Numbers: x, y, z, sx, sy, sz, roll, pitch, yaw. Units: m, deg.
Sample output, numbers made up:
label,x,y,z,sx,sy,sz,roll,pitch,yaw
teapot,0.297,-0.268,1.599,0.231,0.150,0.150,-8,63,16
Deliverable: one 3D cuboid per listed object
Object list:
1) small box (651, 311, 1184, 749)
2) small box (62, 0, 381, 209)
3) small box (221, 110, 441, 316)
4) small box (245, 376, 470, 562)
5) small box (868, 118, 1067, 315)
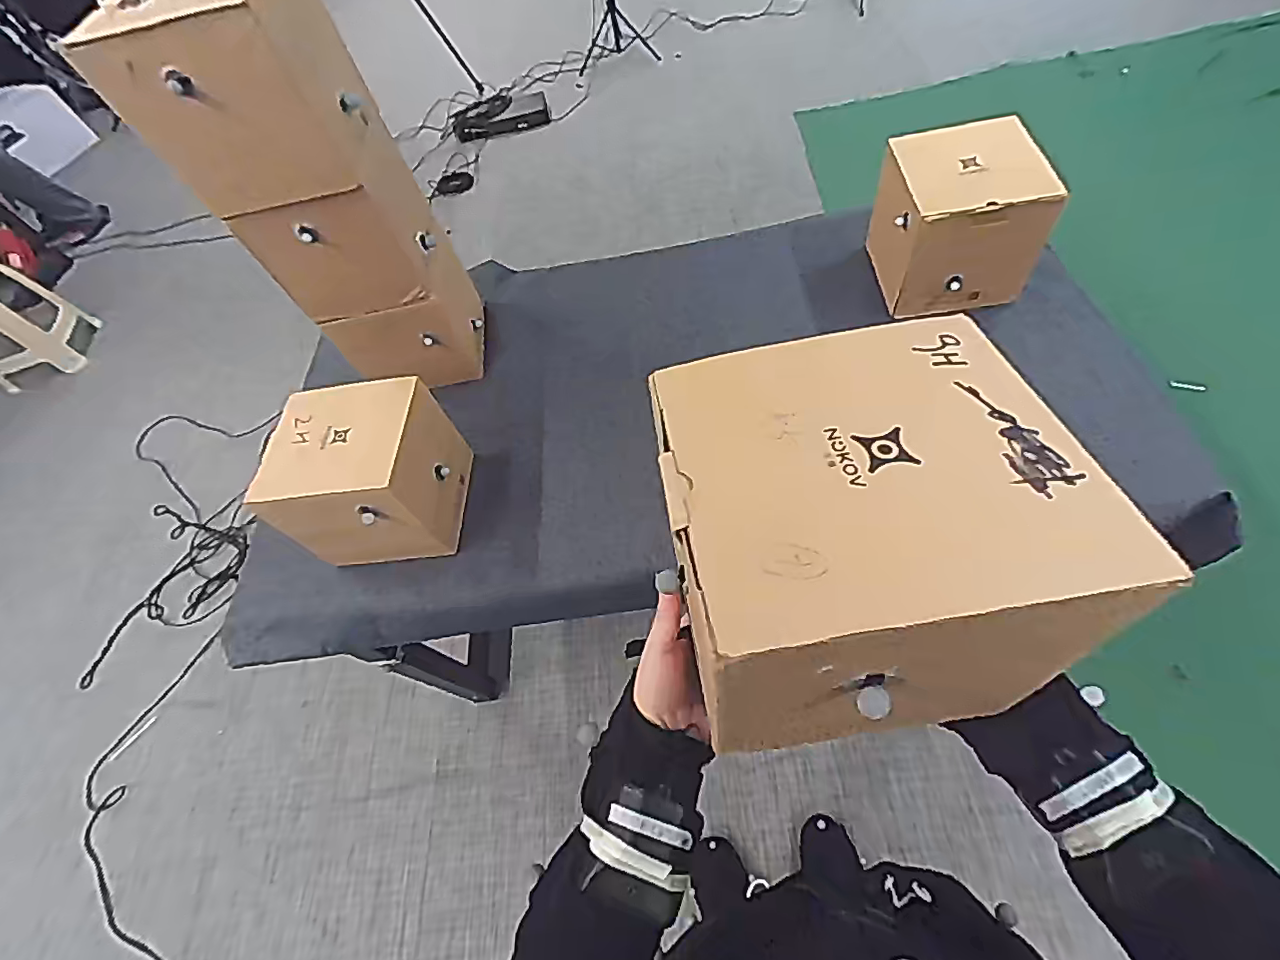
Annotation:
label,x,y,z,sx,sy,sz,roll,pitch,yaw
small box,0.112,0.037,0.305,0.179,0.176,0.168,-11,52,1
small box,-0.408,-0.414,0.566,0.179,0.176,0.168,-9,61,4
small box,-0.387,-0.340,0.712,0.179,0.176,0.168,-11,61,3
small box,-0.338,-0.007,0.691,0.179,0.176,0.168,-6,56,7
small box,0.433,-0.359,0.754,0.168,0.176,0.179,-6,60,8
